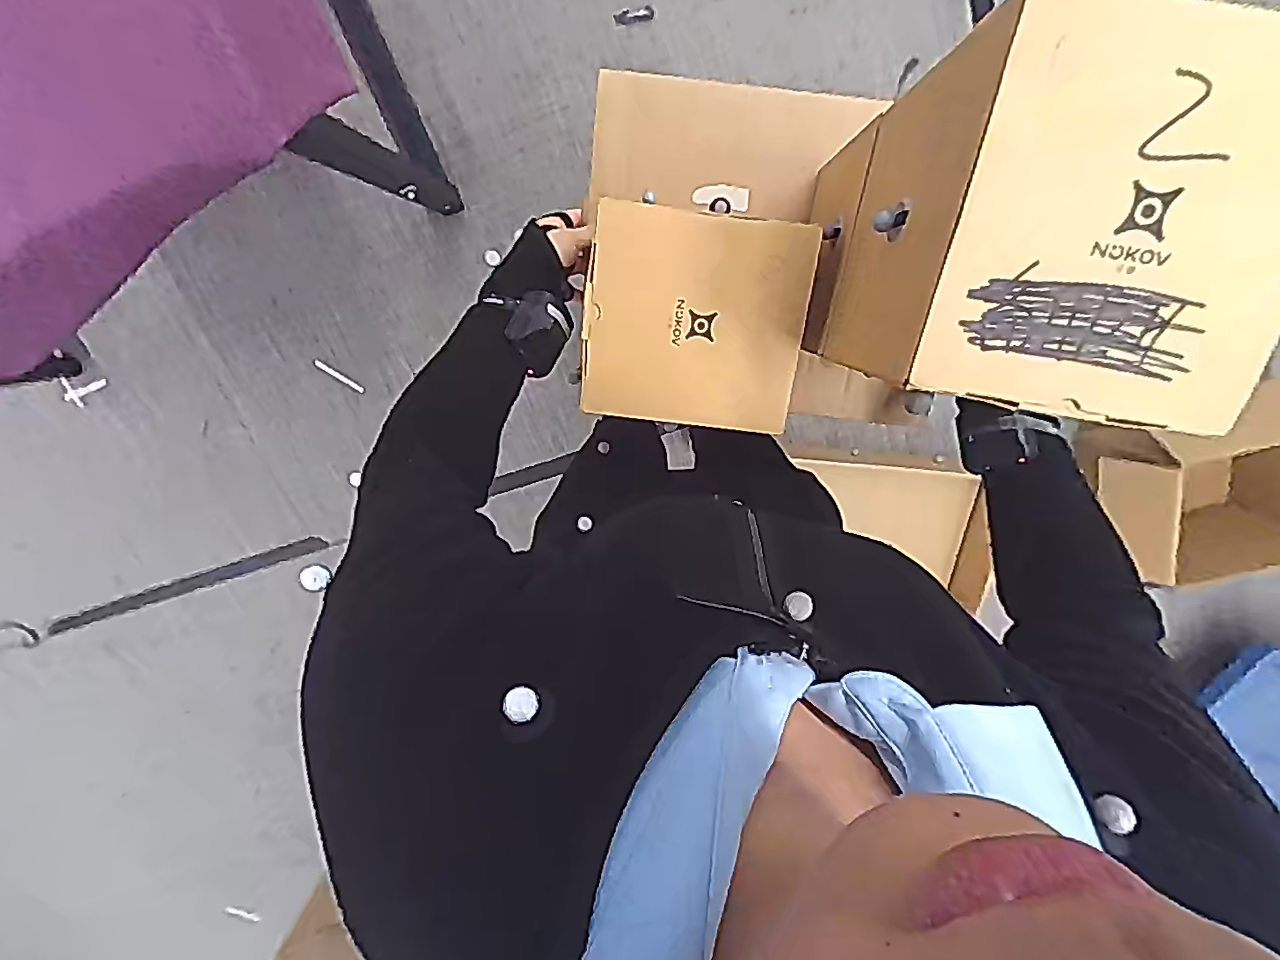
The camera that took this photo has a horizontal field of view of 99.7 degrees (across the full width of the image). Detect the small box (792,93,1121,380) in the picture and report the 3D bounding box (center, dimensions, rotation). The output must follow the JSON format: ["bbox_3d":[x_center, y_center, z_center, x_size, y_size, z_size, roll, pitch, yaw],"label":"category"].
[{"bbox_3d":[0.243,-0.195,0.471,0.168,0.176,0.179,9,108,1],"label":"small box"}]

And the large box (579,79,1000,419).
[{"bbox_3d":[0.148,-0.277,0.709,0.408,0.320,0.320,6,107,1],"label":"large box"}]
